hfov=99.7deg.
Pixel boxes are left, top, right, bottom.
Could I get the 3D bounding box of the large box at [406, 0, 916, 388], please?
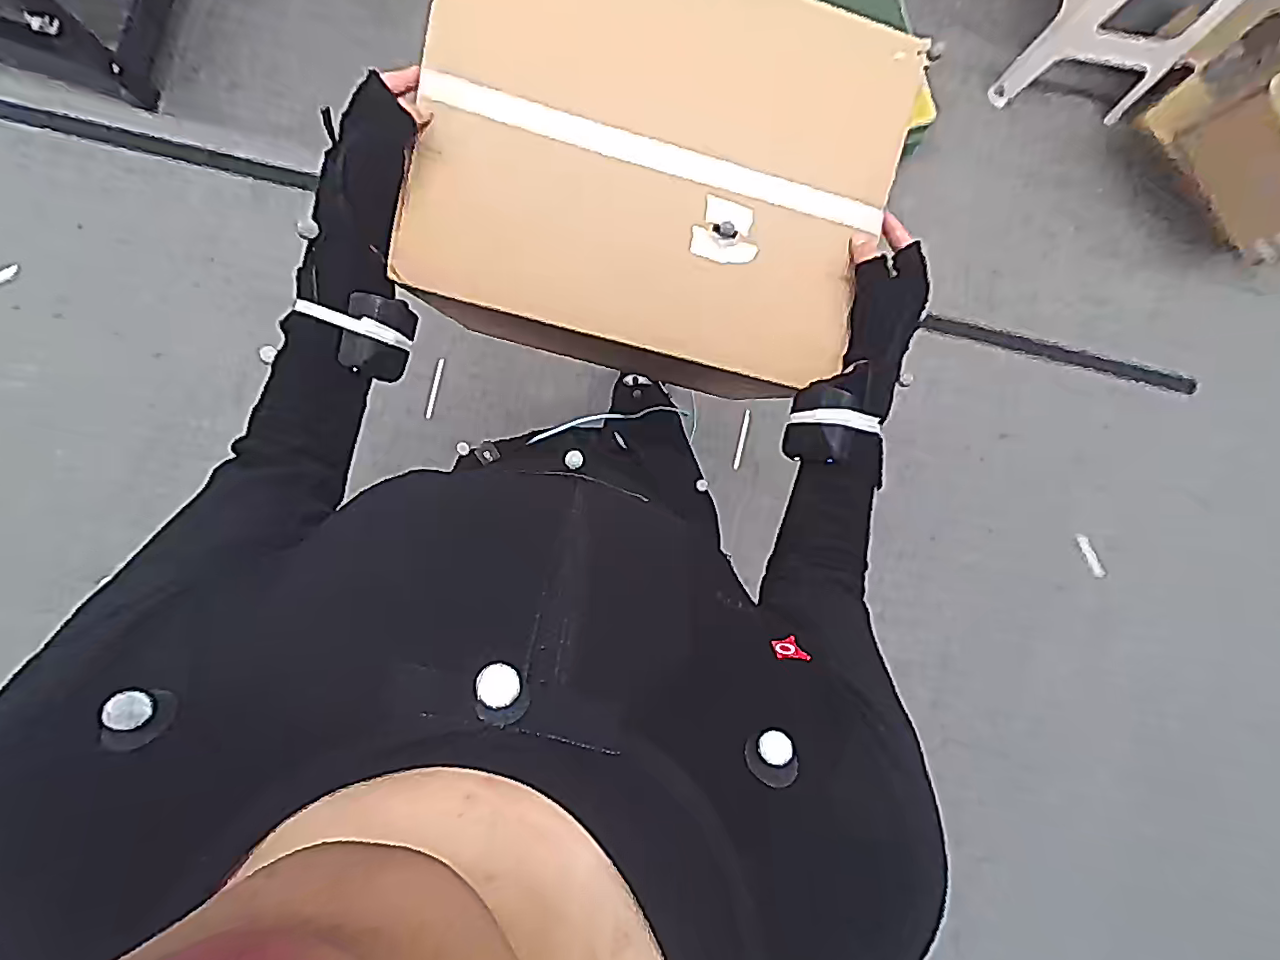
[{"bbox_3d":[0.005,-0.301,0.616,0.408,0.320,0.320,13,98,-8],"label":"large box"}]
